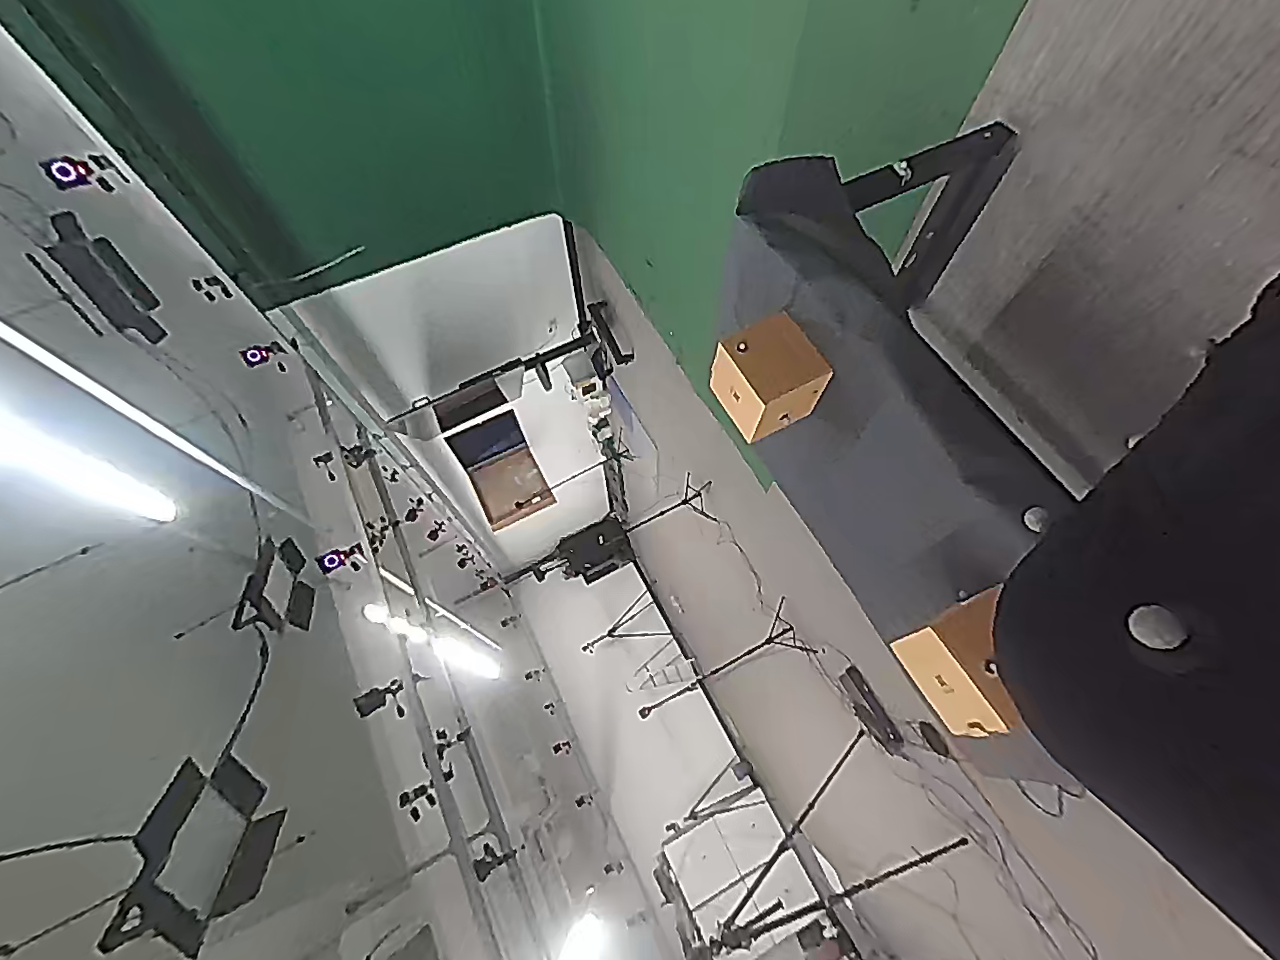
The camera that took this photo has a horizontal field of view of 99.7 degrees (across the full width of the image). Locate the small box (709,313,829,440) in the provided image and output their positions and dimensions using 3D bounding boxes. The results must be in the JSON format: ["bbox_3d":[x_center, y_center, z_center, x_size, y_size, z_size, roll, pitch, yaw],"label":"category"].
[{"bbox_3d":[0.270,-0.222,1.152,0.179,0.176,0.168,60,168,20],"label":"small box"}]

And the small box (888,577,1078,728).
[{"bbox_3d":[0.571,0.294,0.914,0.179,0.176,0.168,60,167,24],"label":"small box"}]
